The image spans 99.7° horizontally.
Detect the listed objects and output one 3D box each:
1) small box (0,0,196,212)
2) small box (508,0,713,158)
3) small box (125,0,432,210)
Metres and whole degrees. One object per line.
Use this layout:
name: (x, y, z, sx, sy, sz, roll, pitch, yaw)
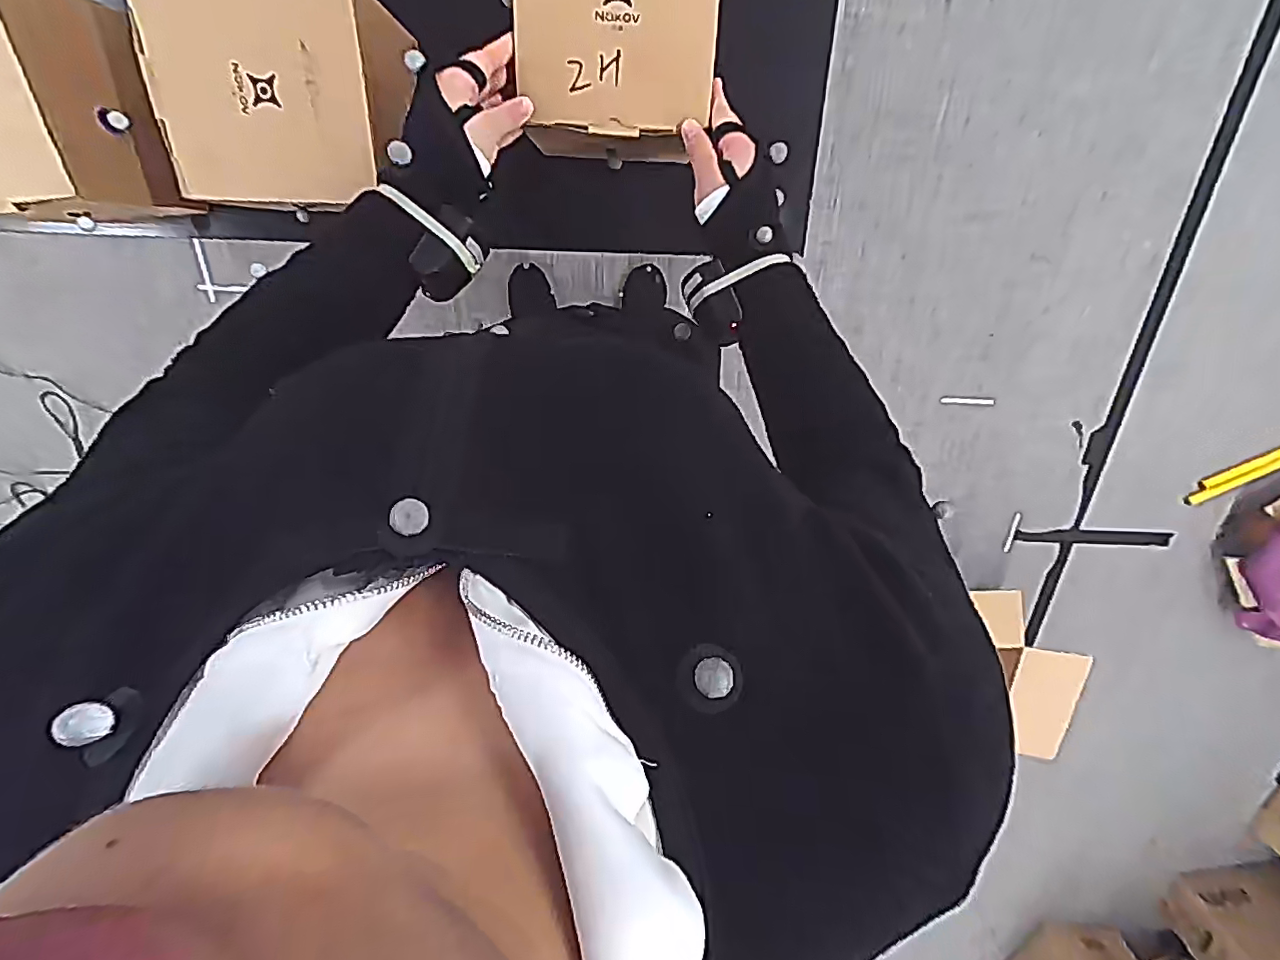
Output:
small box: (-0.577, -0.353, 0.507, 0.168, 0.176, 0.179, -5, 114, -1)
small box: (-0.026, -0.417, 0.502, 0.168, 0.176, 0.179, 2, 113, -2)
small box: (-0.320, -0.357, 0.517, 0.179, 0.176, 0.168, 1, 113, -3)
